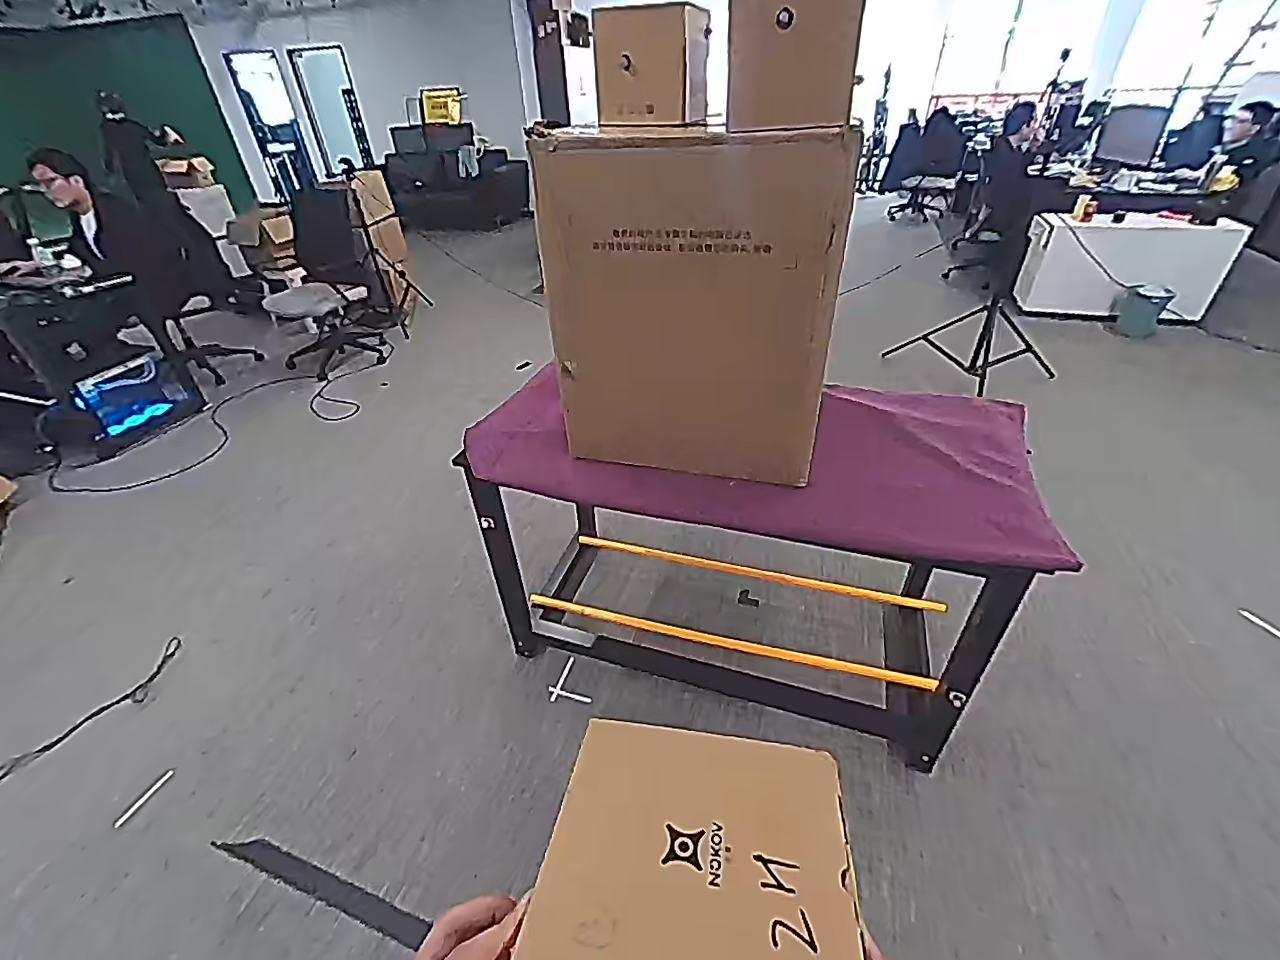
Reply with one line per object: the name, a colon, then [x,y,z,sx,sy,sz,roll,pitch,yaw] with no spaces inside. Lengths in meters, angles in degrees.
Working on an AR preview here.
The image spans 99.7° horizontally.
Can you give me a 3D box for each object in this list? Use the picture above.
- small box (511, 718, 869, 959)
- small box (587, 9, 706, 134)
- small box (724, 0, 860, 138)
small box: [0.037,0.287,0.346,0.179,0.176,0.168,4,25,10]
small box: [0.020,-0.736,0.990,0.168,0.176,0.179,10,37,17]
small box: [0.220,-0.609,0.795,0.179,0.176,0.168,5,37,14]
